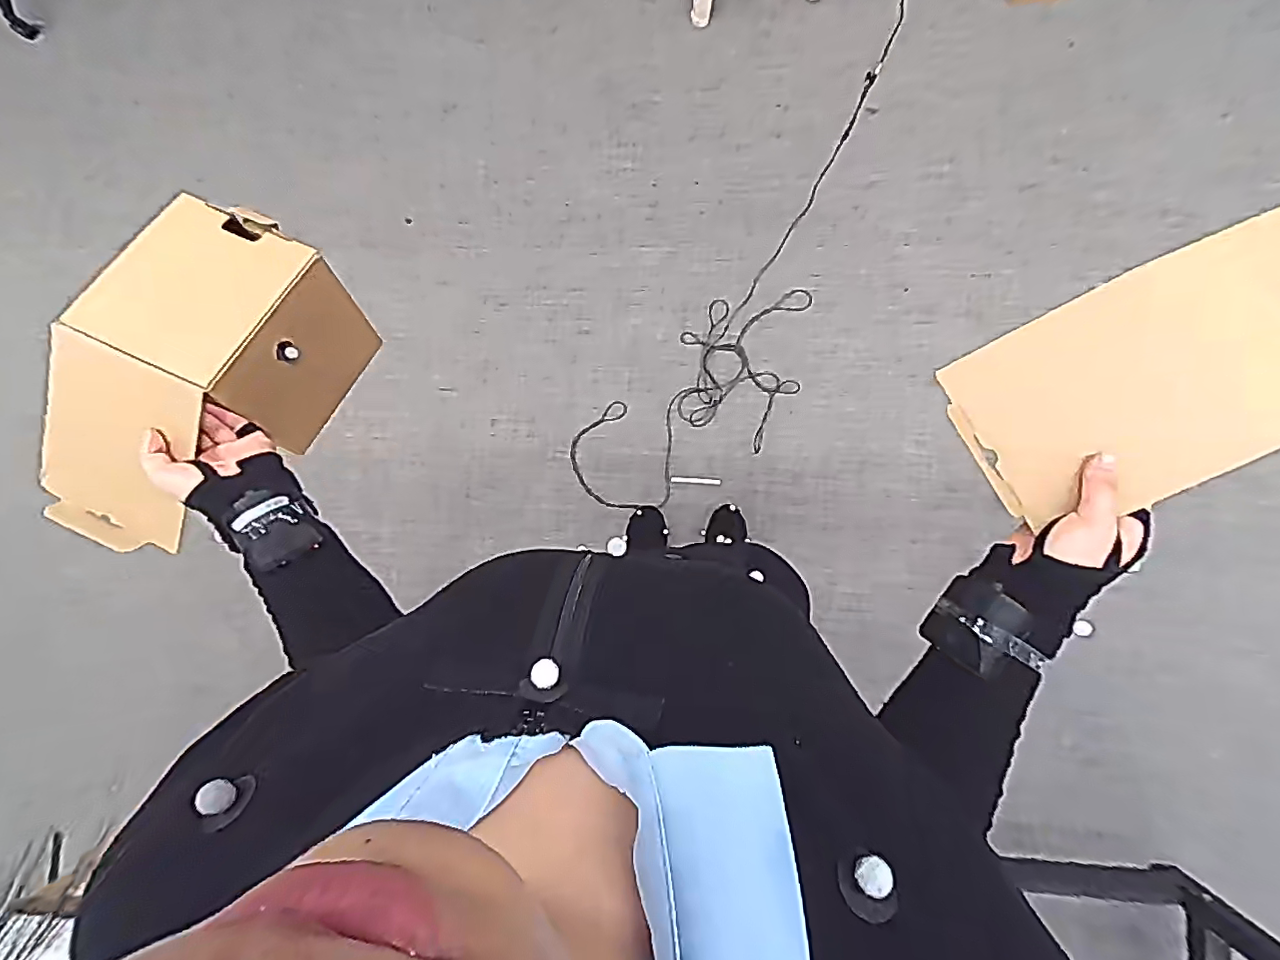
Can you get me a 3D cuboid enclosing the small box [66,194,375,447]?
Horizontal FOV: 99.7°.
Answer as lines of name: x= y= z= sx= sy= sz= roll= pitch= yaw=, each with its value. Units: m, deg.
small box: x=-0.431 y=-0.162 z=0.596 sx=0.168 sy=0.176 sz=0.179 roll=25 pitch=71 yaw=4
